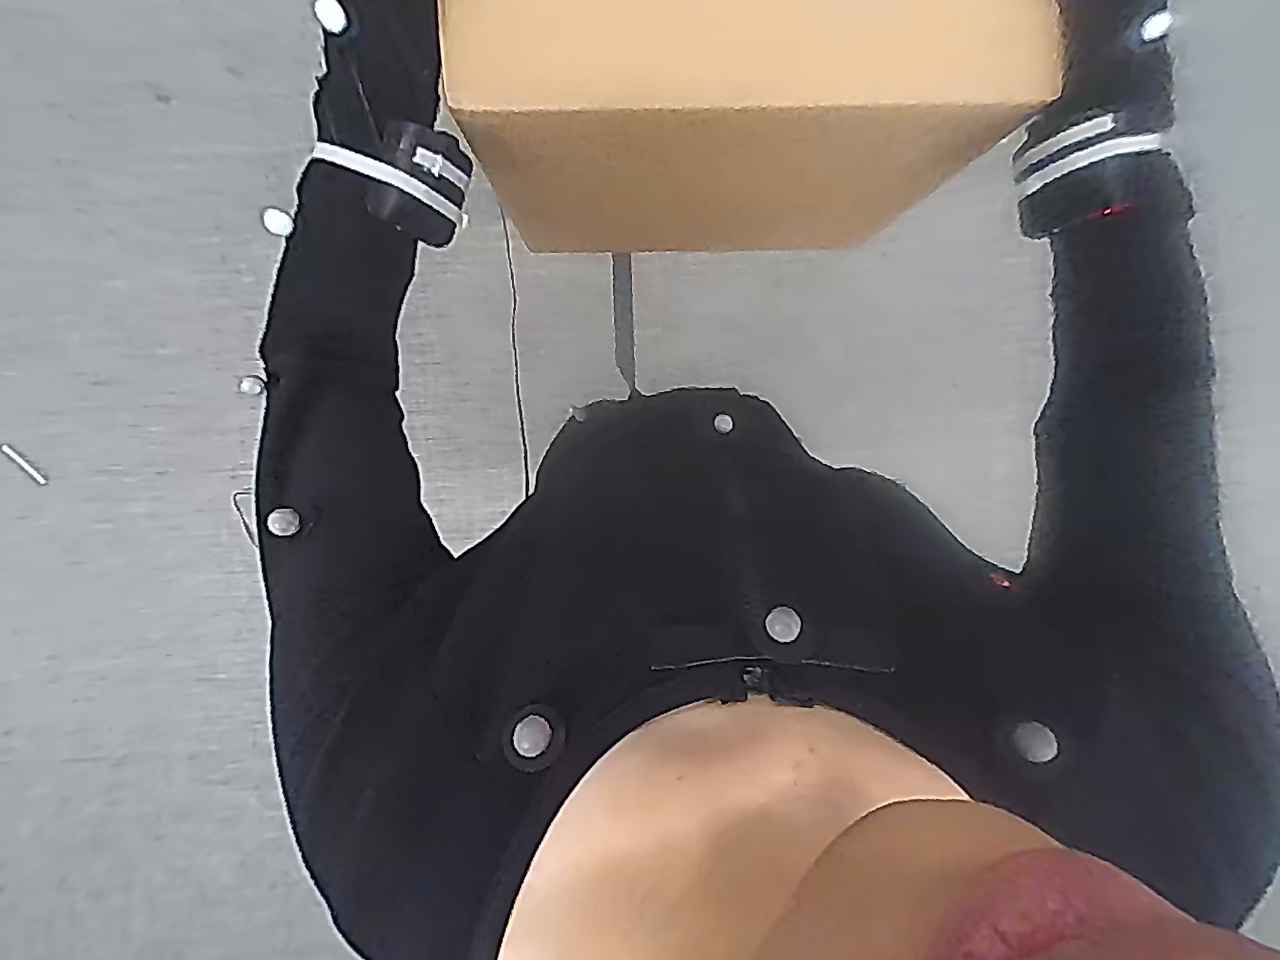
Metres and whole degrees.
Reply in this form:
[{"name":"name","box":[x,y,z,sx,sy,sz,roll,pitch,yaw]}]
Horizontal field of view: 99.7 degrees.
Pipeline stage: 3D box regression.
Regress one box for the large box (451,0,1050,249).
[{"name":"large box","box":[0.065,-0.422,0.493,0.408,0.320,0.320,-2,96,-2]}]
